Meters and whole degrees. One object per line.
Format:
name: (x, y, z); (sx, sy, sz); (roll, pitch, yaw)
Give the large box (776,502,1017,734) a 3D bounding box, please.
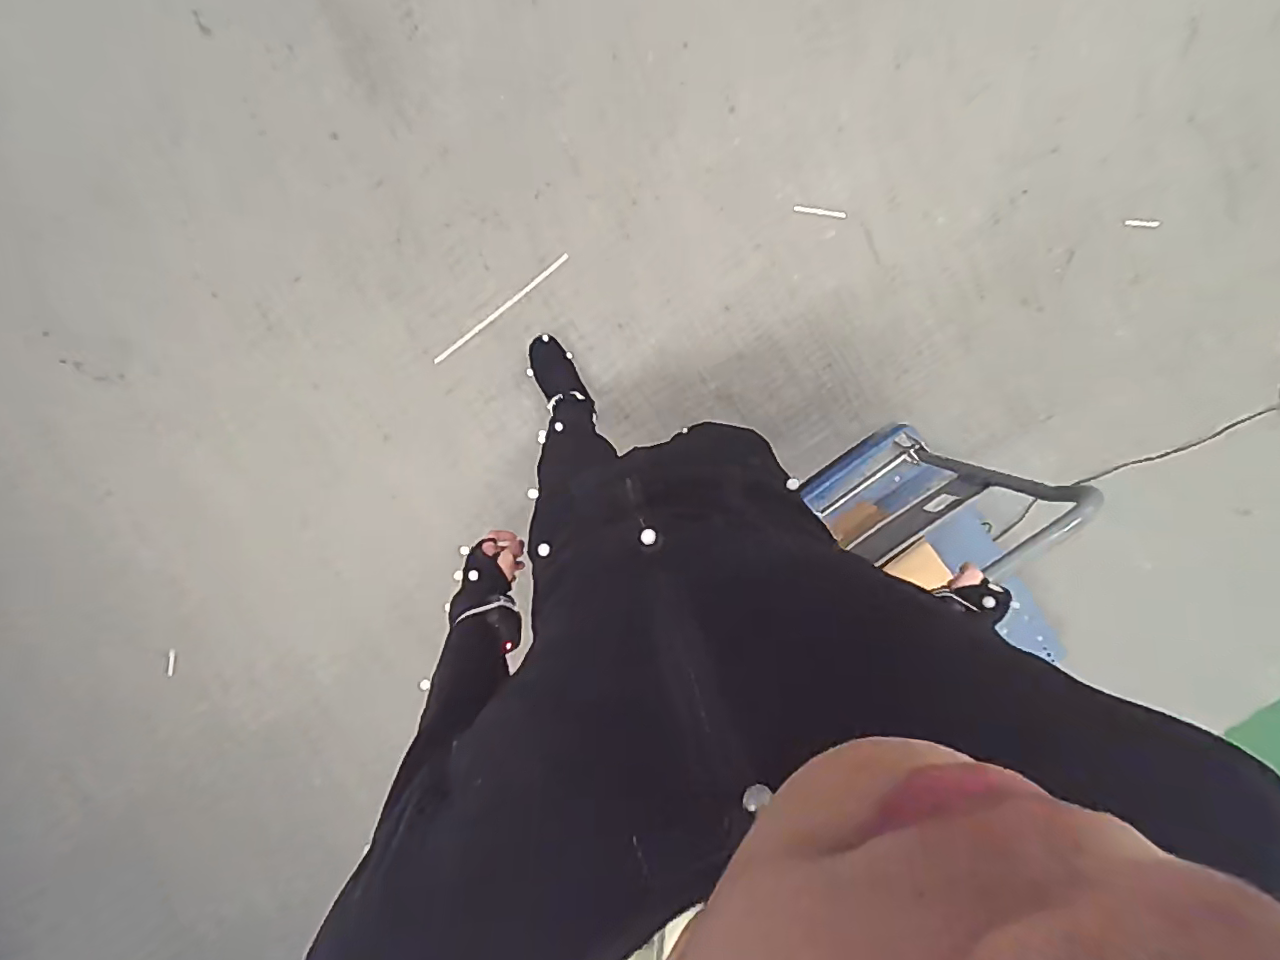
large box: (0.615, 0.325, 1.361); (0.320, 0.320, 0.408); (-39, 101, 8)
